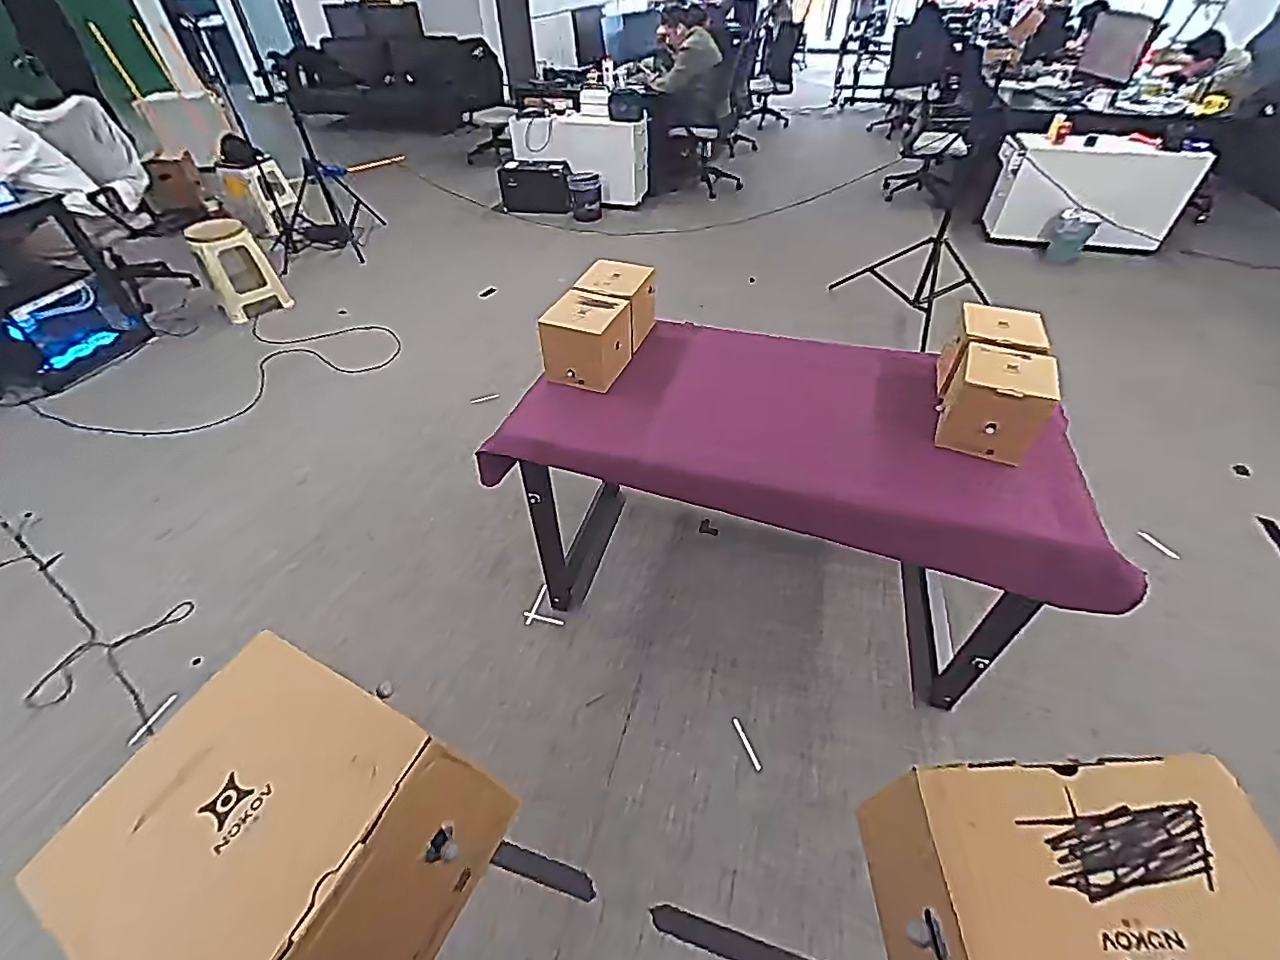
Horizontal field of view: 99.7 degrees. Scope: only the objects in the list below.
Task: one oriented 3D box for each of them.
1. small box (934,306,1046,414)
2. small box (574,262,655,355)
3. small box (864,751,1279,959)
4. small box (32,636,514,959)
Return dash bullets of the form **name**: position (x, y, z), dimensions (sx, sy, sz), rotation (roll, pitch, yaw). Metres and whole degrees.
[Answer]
- **small box**: position (0.813, -0.285, 1.277), dimensions (0.168, 0.176, 0.179), rotation (15, 45, 14)
- **small box**: position (-0.066, -0.467, 1.472), dimensions (0.168, 0.176, 0.179), rotation (14, 47, 15)
- **small box**: position (0.248, 0.276, 0.316), dimensions (0.168, 0.176, 0.179), rotation (-6, 51, 4)
- **small box**: position (-0.215, 0.242, 0.368), dimensions (0.179, 0.176, 0.168), rotation (15, 52, 25)
